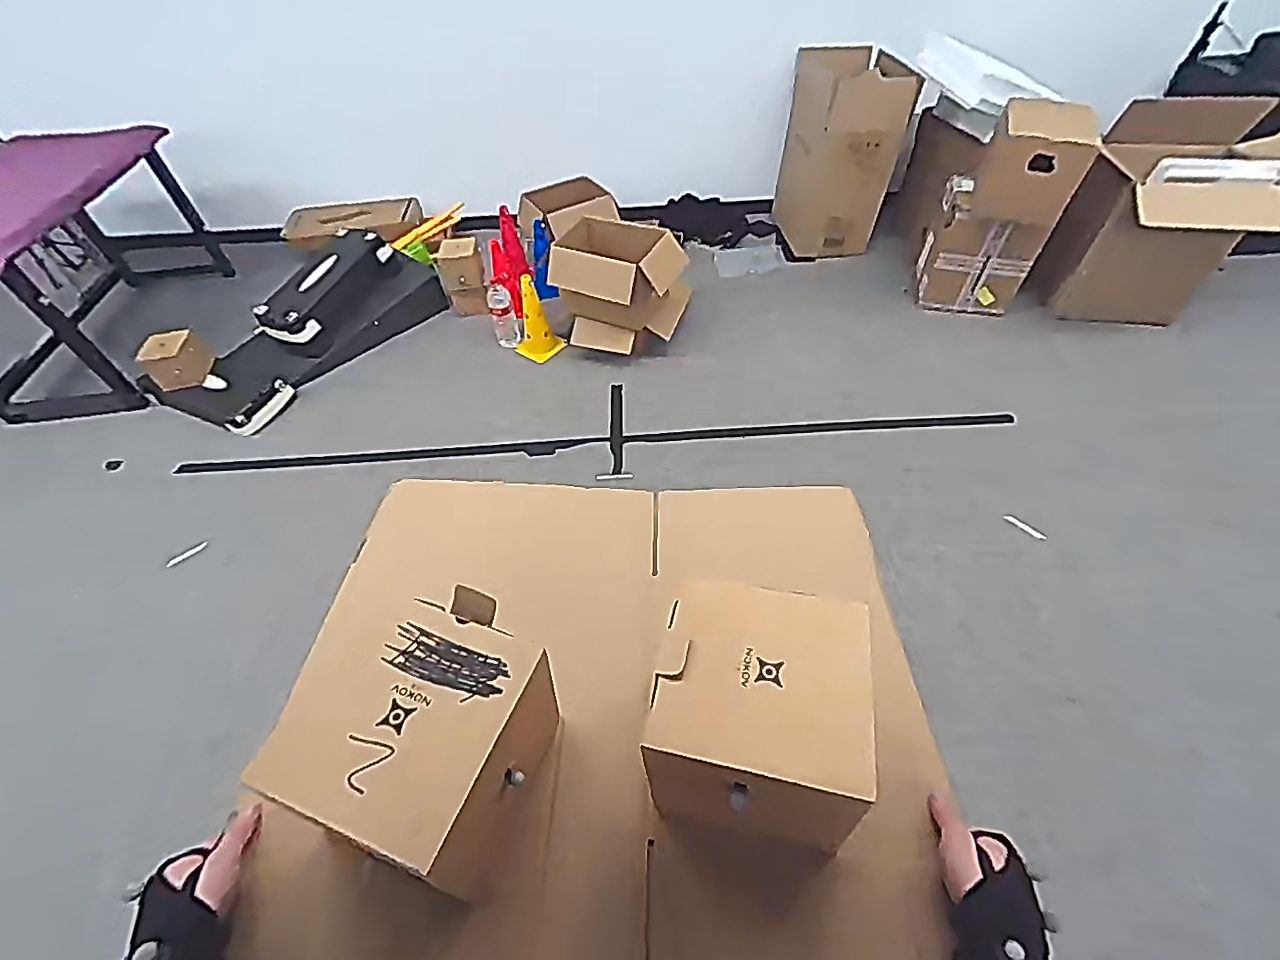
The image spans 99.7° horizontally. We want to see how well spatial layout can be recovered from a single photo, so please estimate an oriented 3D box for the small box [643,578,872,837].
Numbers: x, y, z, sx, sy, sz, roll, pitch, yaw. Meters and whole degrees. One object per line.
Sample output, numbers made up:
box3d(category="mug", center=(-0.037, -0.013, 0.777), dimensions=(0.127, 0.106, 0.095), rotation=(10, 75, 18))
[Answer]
box3d(category="small box", center=(0.113, 0.221, 0.523), dimensions=(0.179, 0.176, 0.168), rotation=(6, 47, 14))
